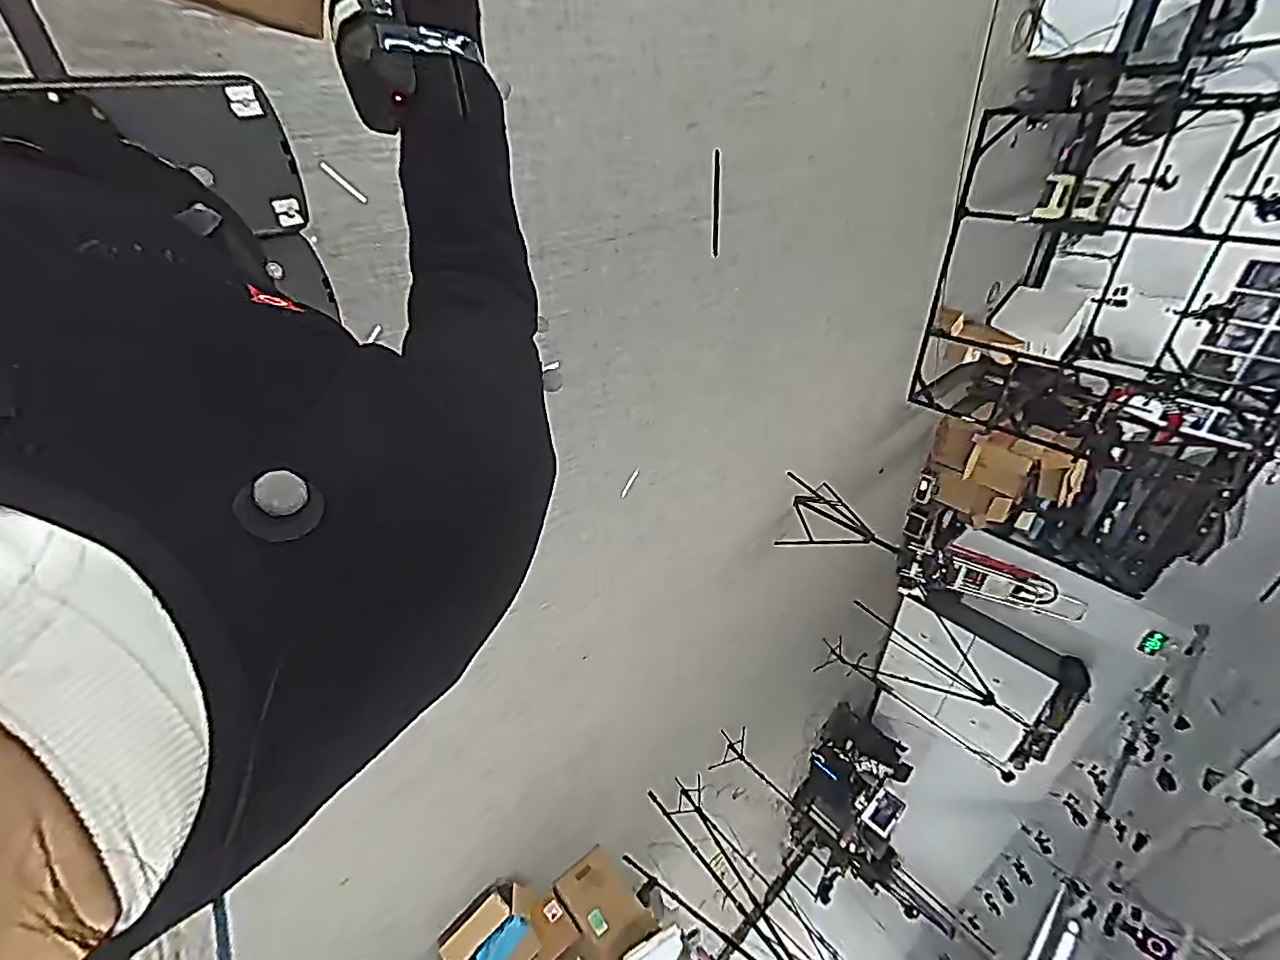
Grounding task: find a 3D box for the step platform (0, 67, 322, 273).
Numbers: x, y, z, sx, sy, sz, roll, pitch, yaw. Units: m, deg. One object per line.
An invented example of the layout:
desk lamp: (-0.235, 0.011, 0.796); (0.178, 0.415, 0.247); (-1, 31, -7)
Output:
step platform: (-1.003, -0.595, 1.021); (0.684, 0.204, 0.286); (-30, 133, -32)
